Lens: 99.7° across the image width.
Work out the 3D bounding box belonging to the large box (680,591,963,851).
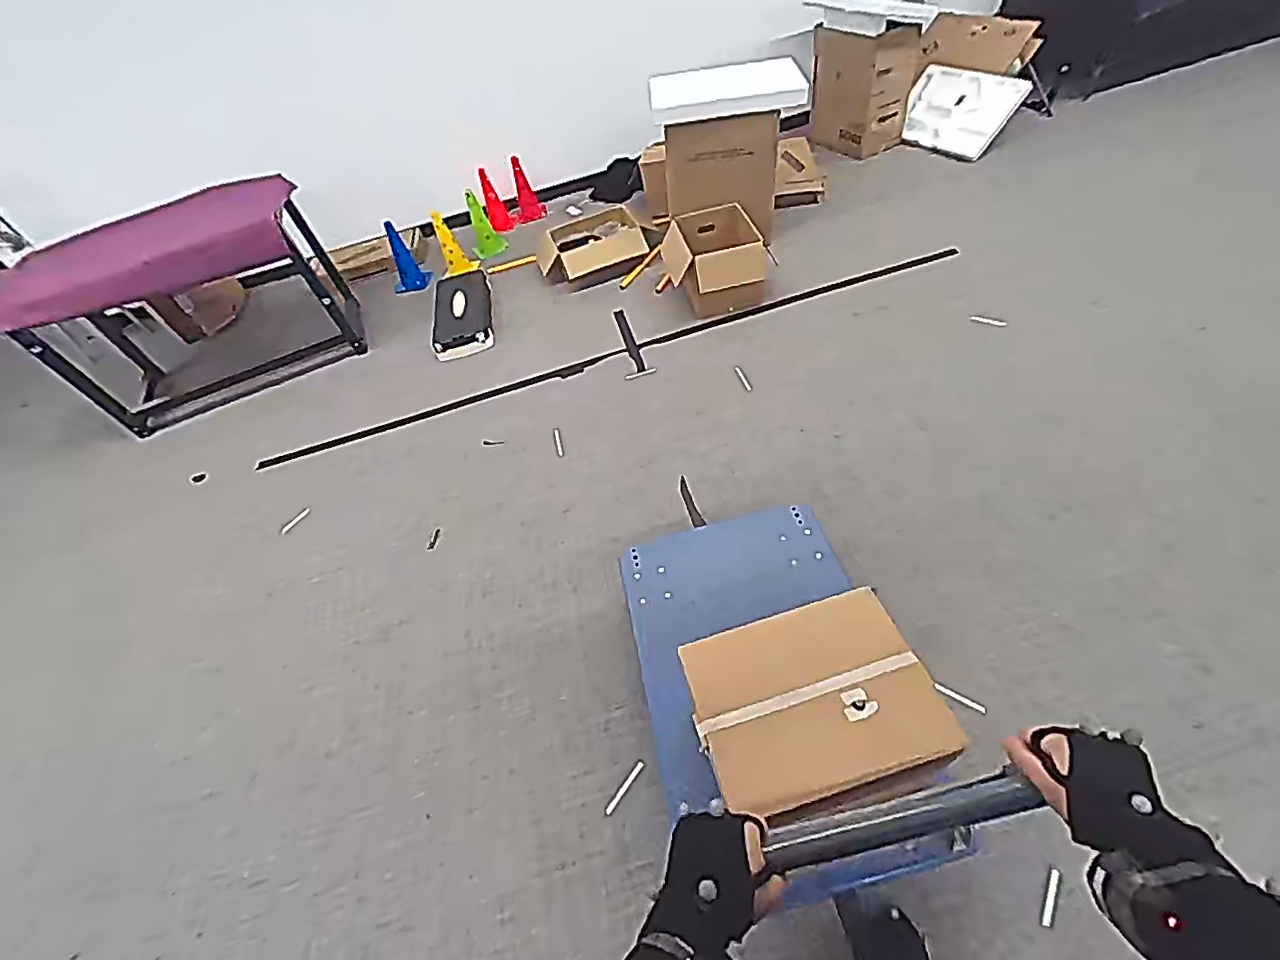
[{"bbox_3d":[0.324,0.482,1.077,0.408,0.320,0.320,-17,49,-4],"label":"large box"}]
